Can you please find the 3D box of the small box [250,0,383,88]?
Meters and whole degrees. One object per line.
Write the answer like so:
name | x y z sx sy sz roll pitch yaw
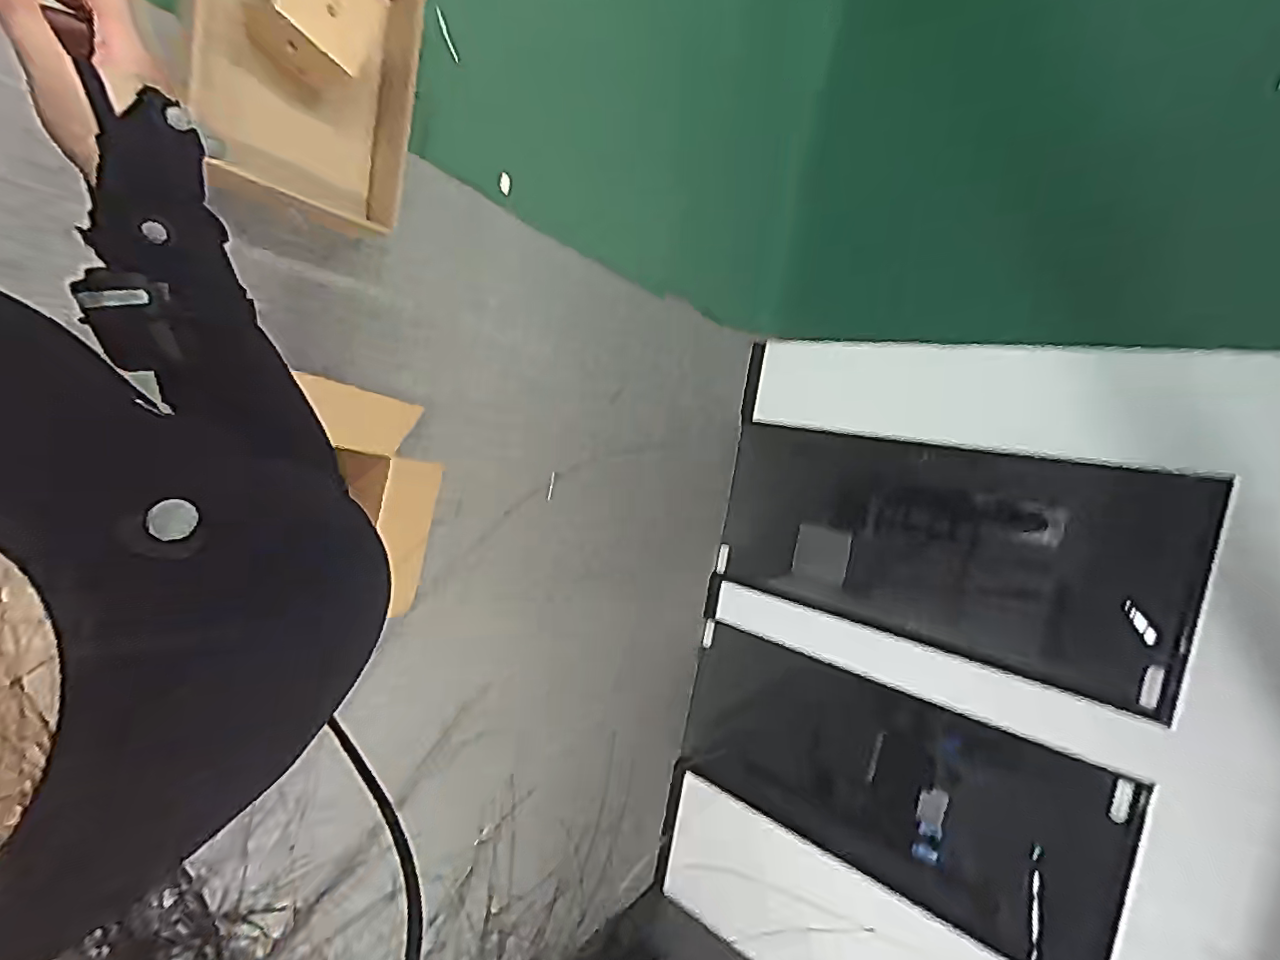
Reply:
small box | -0.686 -0.980 1.143 0.168 0.176 0.179 25 81 -54
